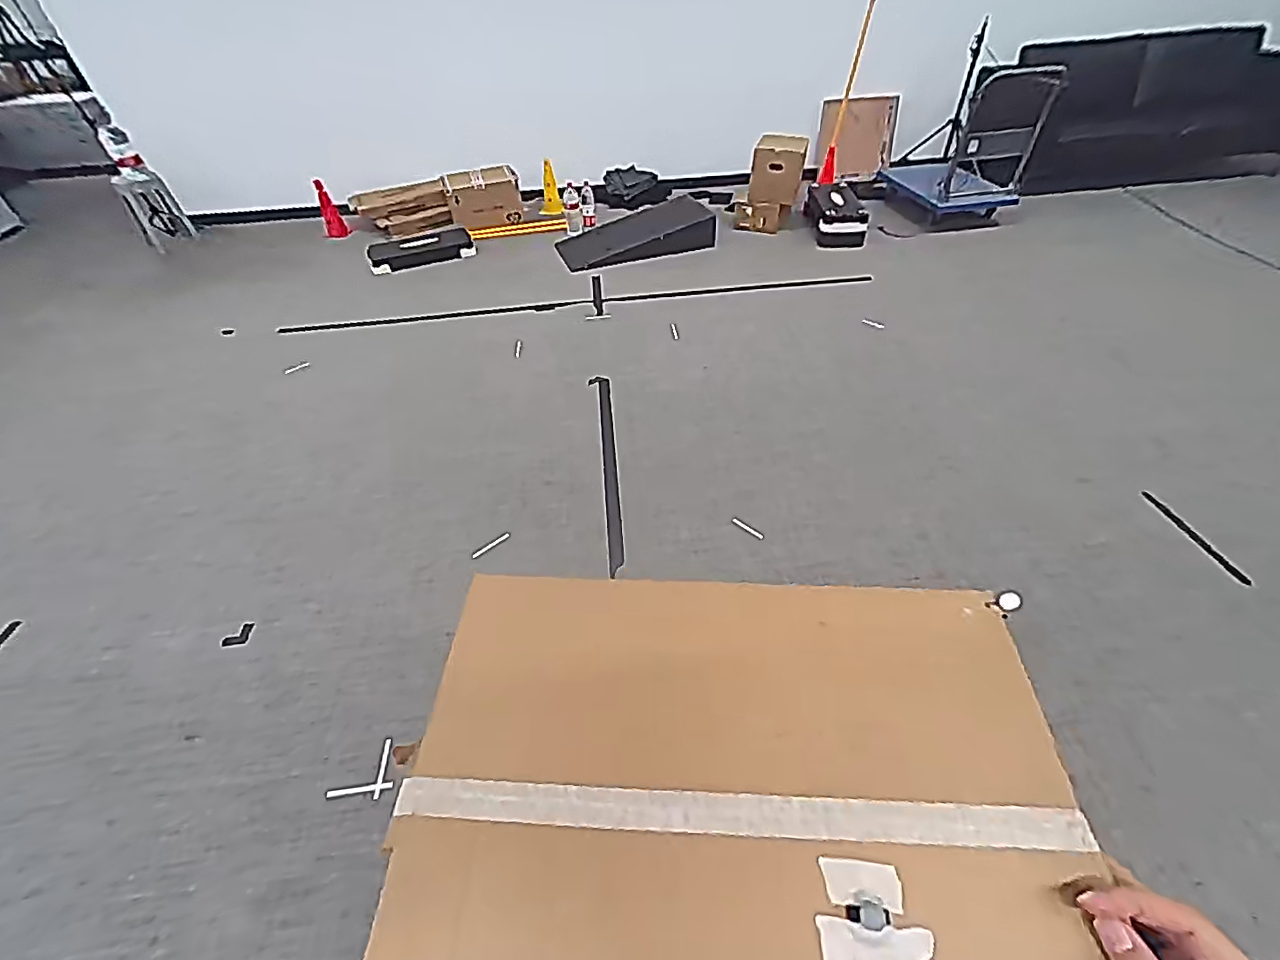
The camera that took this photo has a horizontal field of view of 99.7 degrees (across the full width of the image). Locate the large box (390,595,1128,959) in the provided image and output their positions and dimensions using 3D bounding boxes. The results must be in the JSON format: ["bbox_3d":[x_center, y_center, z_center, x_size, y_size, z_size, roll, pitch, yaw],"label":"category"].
[{"bbox_3d":[0.065,0.308,0.444,0.408,0.320,0.320,1,51,3],"label":"large box"}]
